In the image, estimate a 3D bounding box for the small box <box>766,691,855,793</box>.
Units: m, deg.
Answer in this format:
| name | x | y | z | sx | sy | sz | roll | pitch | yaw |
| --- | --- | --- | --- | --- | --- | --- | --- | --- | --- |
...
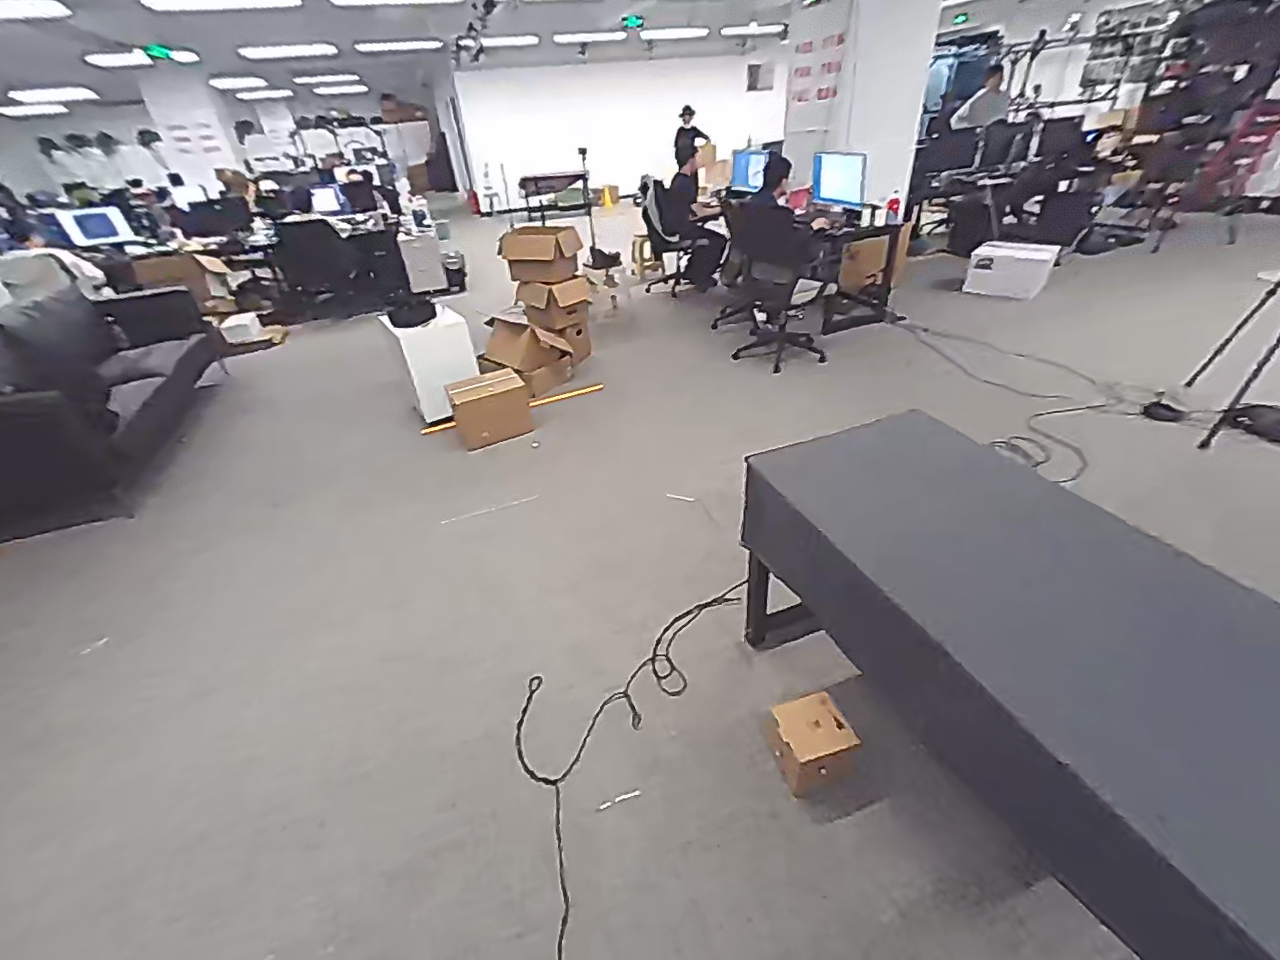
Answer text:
| name | x | y | z | sx | sy | sz | roll | pitch | yaw |
| --- | --- | --- | --- | --- | --- | --- | --- | --- | --- |
| small box | 0.456 | 0.714 | 1.469 | 0.179 | 0.176 | 0.168 | -12 | 33 | -11 |
